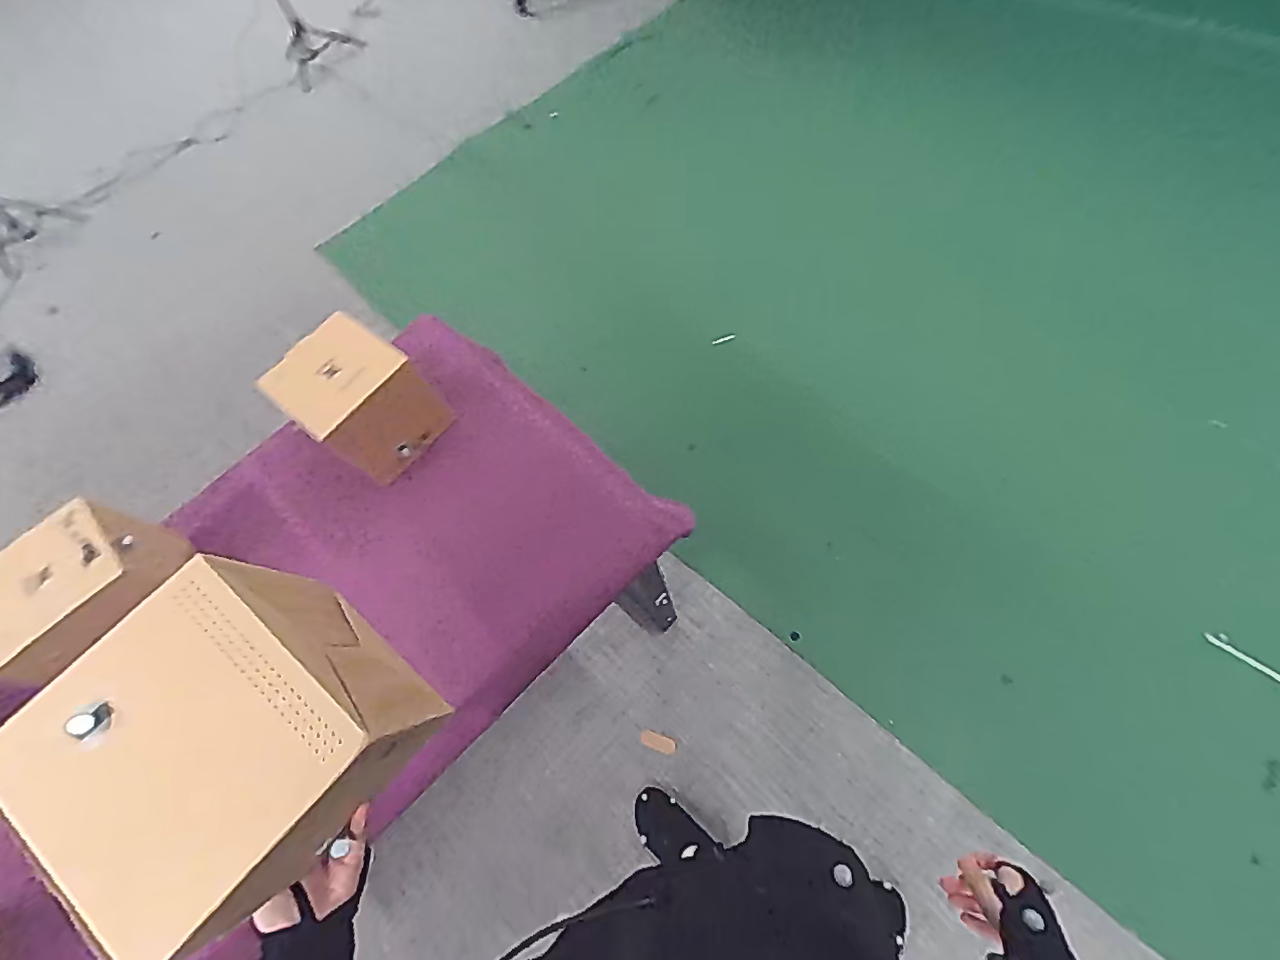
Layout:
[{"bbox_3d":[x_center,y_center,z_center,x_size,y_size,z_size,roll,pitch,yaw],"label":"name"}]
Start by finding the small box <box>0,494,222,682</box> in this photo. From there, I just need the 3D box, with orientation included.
[{"bbox_3d":[-0.747,0.157,0.750,0.168,0.176,0.179,39,75,21],"label":"small box"}]

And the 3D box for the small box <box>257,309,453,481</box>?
[{"bbox_3d":[-0.434,-0.126,0.849,0.179,0.176,0.168,35,74,21],"label":"small box"}]
